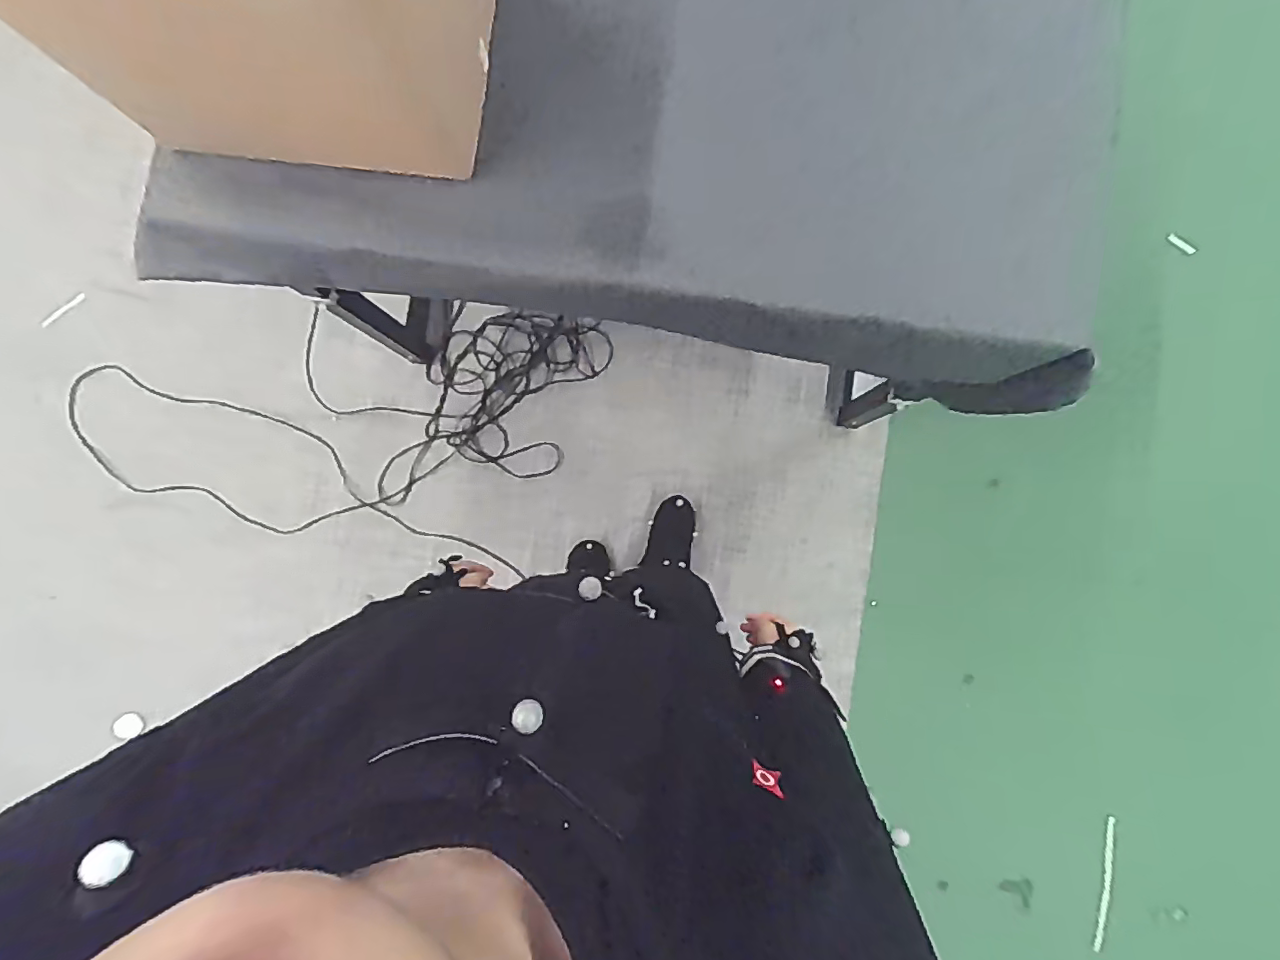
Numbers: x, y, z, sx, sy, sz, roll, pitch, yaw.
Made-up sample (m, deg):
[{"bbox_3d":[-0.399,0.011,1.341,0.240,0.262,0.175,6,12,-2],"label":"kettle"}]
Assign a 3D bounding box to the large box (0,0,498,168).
[{"bbox_3d":[-0.389,-0.570,0.551,0.408,0.320,0.320,6,87,0],"label":"large box"}]
